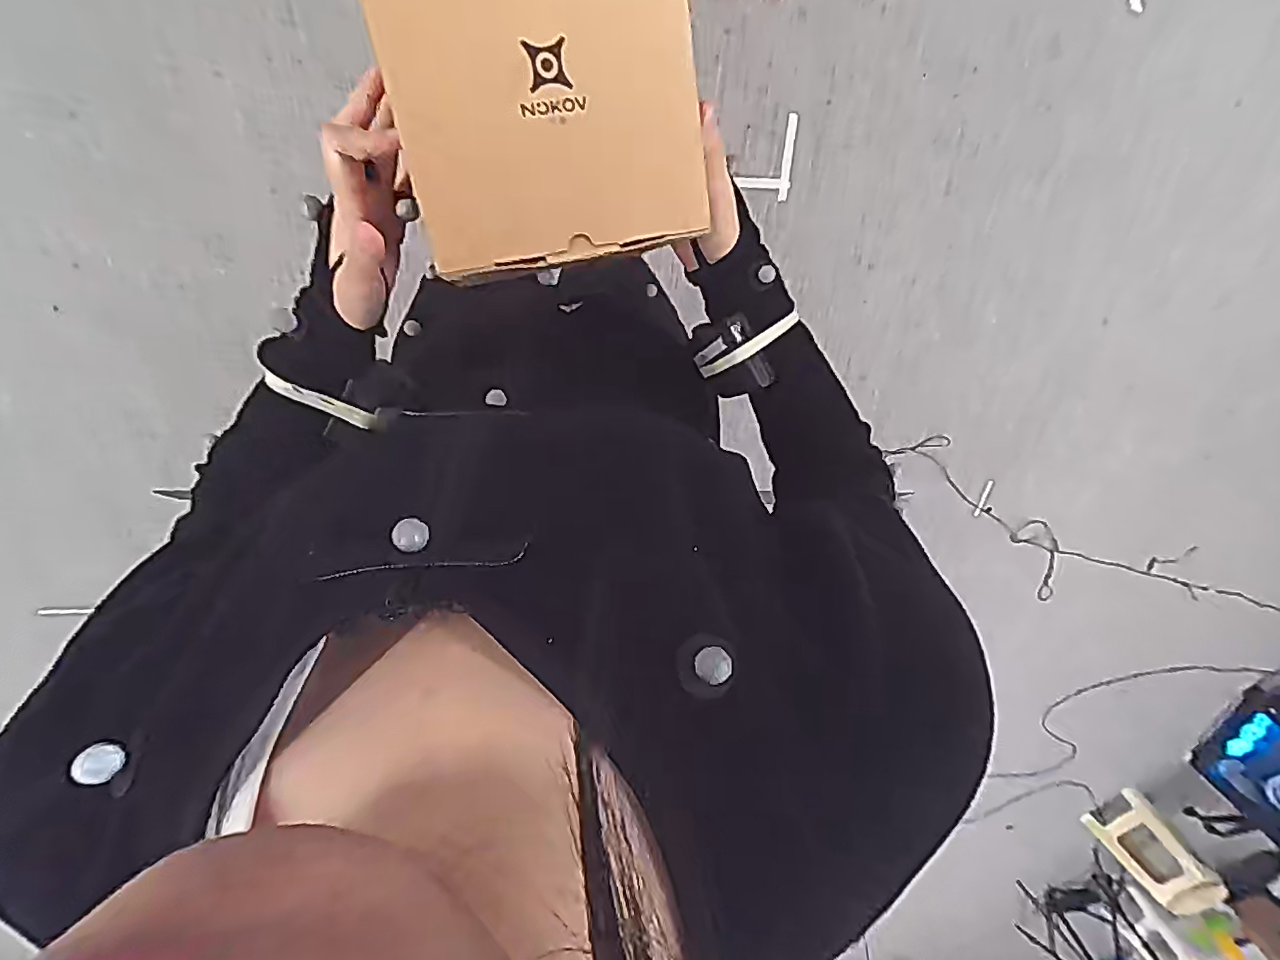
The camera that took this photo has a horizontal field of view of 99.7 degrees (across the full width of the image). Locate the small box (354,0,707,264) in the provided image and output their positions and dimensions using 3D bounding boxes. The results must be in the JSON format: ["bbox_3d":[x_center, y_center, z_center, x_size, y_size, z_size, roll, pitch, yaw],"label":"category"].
[{"bbox_3d":[-0.072,-0.243,0.341,0.168,0.176,0.179,-15,113,-11],"label":"small box"}]
